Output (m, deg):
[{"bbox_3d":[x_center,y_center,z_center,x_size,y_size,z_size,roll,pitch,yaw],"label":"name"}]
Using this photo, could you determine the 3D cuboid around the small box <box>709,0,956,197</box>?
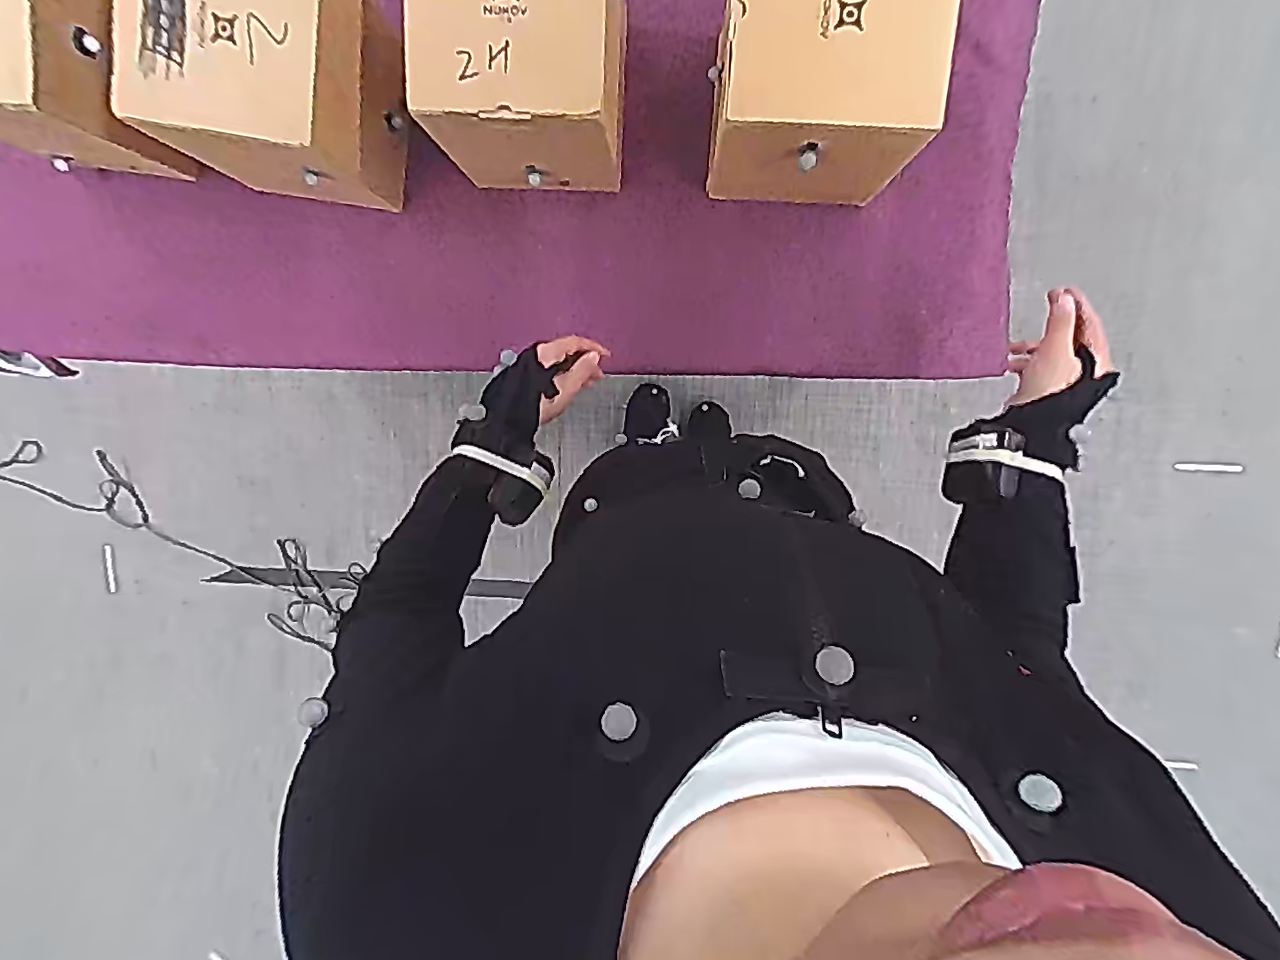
[{"bbox_3d":[0.163,-0.380,0.501,0.179,0.176,0.168,4,98,3],"label":"small box"}]

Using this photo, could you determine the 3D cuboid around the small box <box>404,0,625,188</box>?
[{"bbox_3d":[-0.104,-0.404,0.511,0.168,0.176,0.179,3,99,3],"label":"small box"}]

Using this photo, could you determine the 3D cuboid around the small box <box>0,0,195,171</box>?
[{"bbox_3d":[-0.581,-0.430,0.528,0.168,0.176,0.179,8,100,1],"label":"small box"}]
